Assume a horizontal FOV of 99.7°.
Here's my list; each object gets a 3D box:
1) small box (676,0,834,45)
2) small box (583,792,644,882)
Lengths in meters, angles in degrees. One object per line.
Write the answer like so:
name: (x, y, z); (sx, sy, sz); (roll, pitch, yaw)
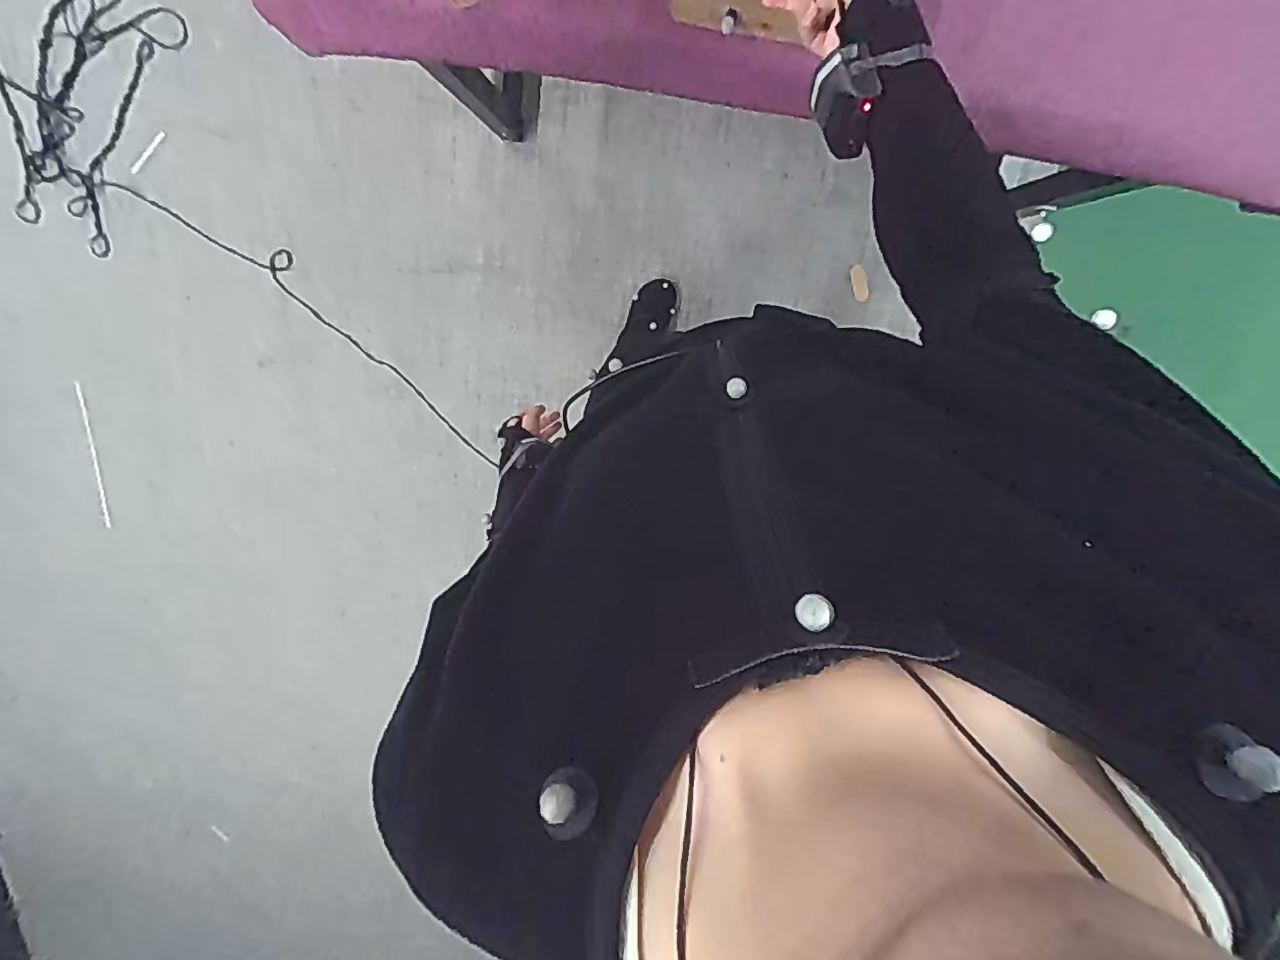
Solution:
small box: (0.125, -0.560, 0.505); (0.168, 0.176, 0.179); (11, 107, 1)
small box: (-0.083, 1.202, 1.831); (0.168, 0.176, 0.179); (14, 108, 0)
